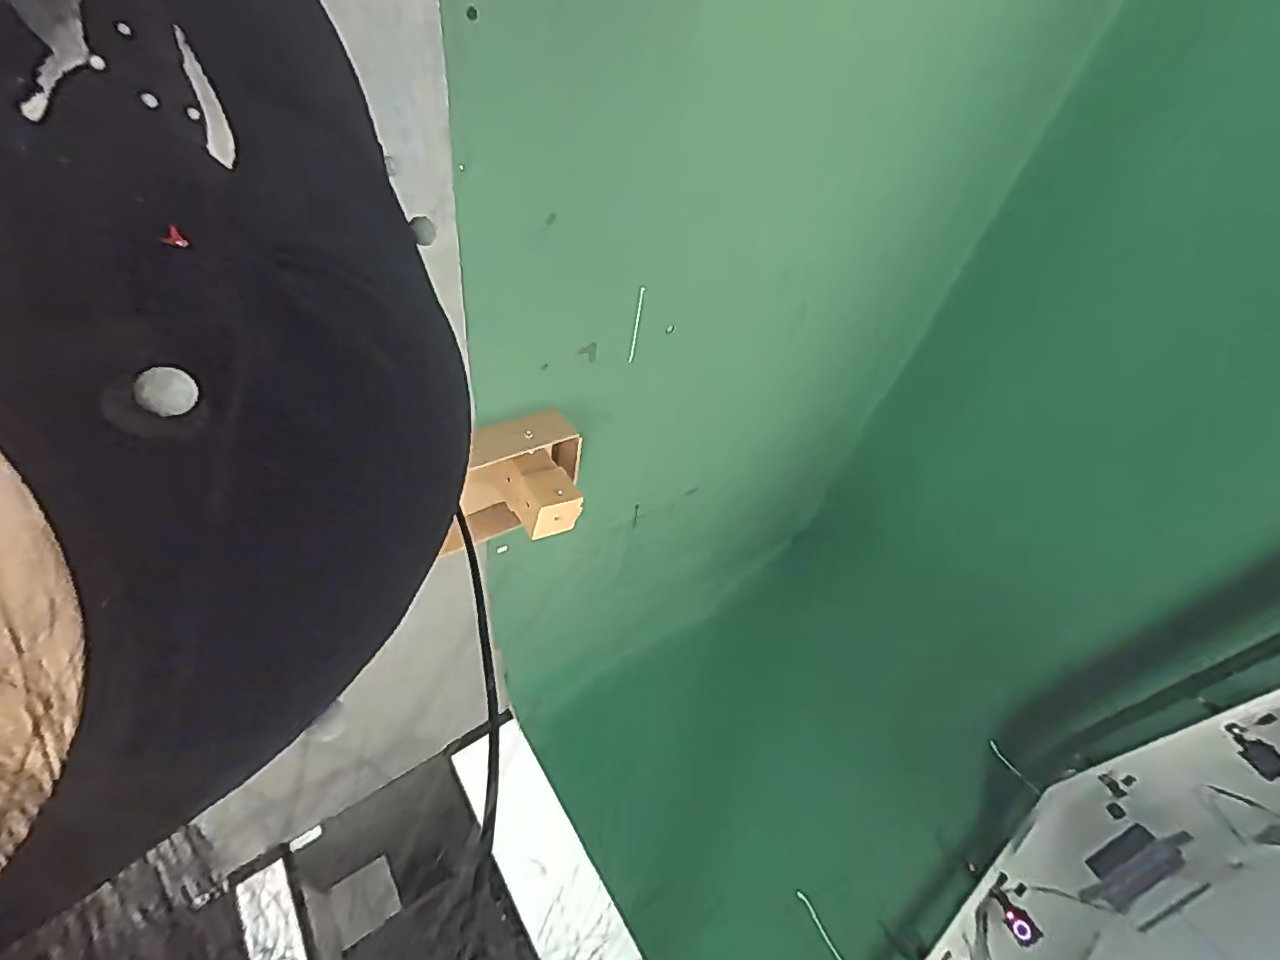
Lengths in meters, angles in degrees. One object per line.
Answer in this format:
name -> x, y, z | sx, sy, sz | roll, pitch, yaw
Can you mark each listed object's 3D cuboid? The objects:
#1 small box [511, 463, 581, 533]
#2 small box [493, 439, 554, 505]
small box -> -0.343, 0.061, 1.935 | 0.179, 0.176, 0.168 | -14, 141, -38
small box -> -0.435, -0.033, 2.032 | 0.168, 0.176, 0.179 | -9, 138, -42
